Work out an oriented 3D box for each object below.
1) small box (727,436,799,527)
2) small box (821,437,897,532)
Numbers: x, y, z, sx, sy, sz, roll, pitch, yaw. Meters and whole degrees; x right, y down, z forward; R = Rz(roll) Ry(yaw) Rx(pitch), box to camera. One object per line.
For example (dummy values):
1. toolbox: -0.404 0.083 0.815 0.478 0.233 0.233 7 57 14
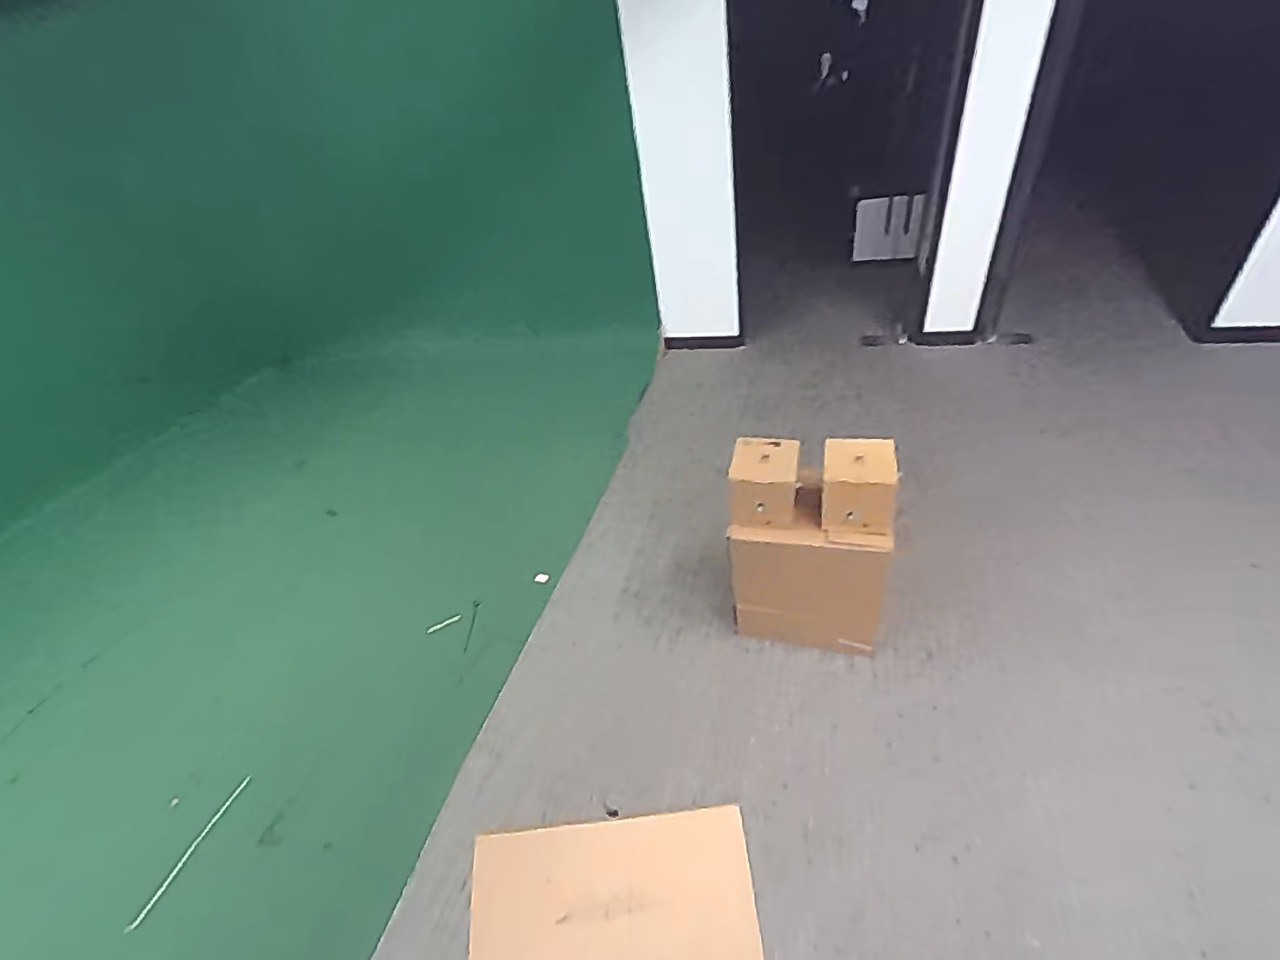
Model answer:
1. small box: 0.330 0.005 1.441 0.168 0.176 0.179 5 44 17
2. small box: 0.554 0.009 1.381 0.168 0.176 0.179 3 41 19
